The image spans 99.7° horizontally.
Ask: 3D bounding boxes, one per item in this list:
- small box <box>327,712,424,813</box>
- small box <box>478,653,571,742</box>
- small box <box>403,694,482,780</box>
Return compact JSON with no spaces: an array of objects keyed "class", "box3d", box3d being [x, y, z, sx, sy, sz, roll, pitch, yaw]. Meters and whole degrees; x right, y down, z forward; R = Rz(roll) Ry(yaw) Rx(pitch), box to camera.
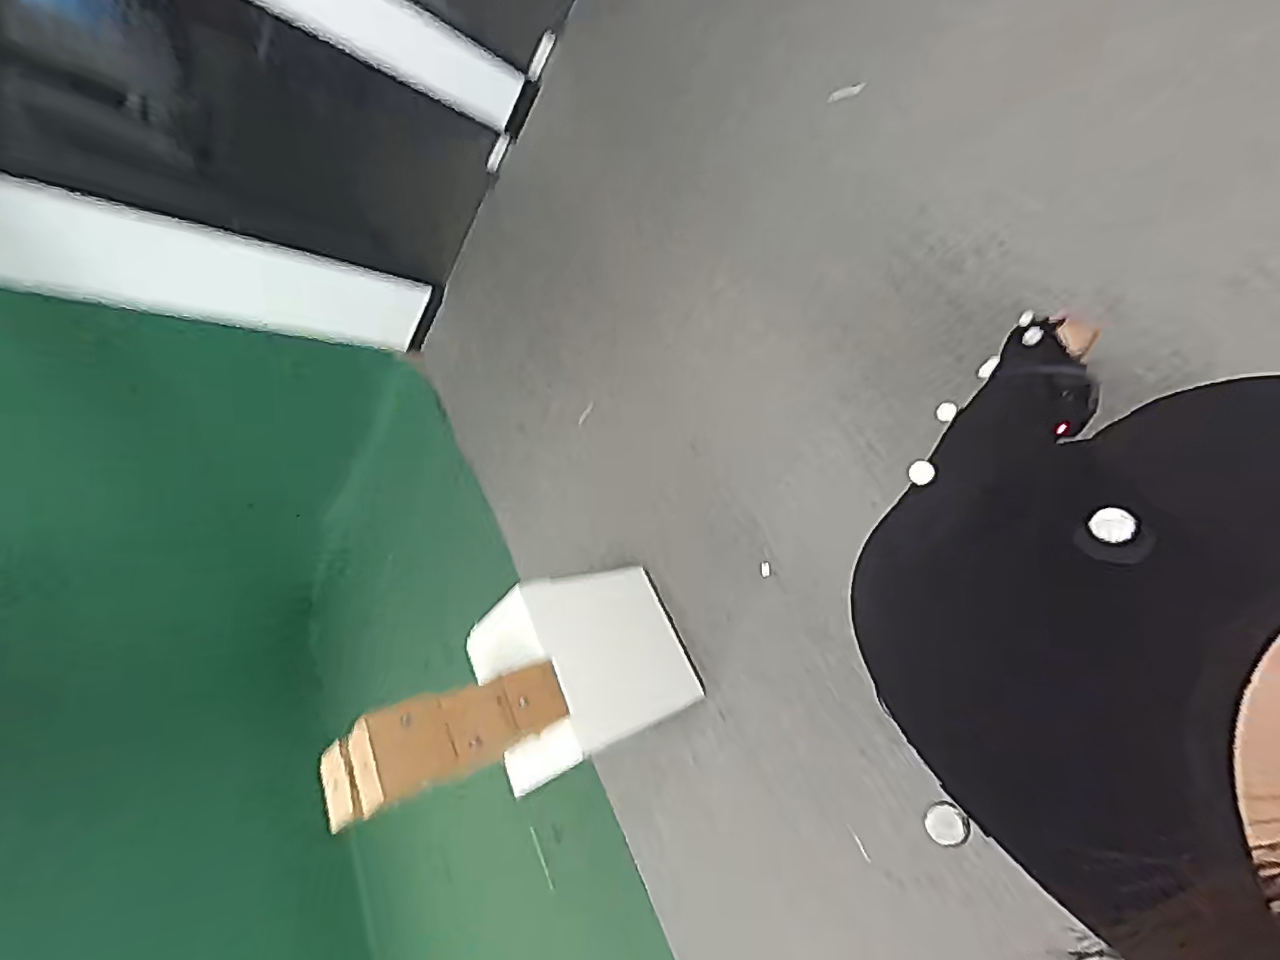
[{"class":"small box","box3d":[-0.681,0.726,1.403,0.179,0.176,0.168,-42,62,33]},{"class":"small box","box3d":[-0.324,0.601,1.516,0.168,0.176,0.179,-43,62,36]},{"class":"small box","box3d":[-0.575,0.723,1.528,0.168,0.176,0.179,-43,62,34]}]
